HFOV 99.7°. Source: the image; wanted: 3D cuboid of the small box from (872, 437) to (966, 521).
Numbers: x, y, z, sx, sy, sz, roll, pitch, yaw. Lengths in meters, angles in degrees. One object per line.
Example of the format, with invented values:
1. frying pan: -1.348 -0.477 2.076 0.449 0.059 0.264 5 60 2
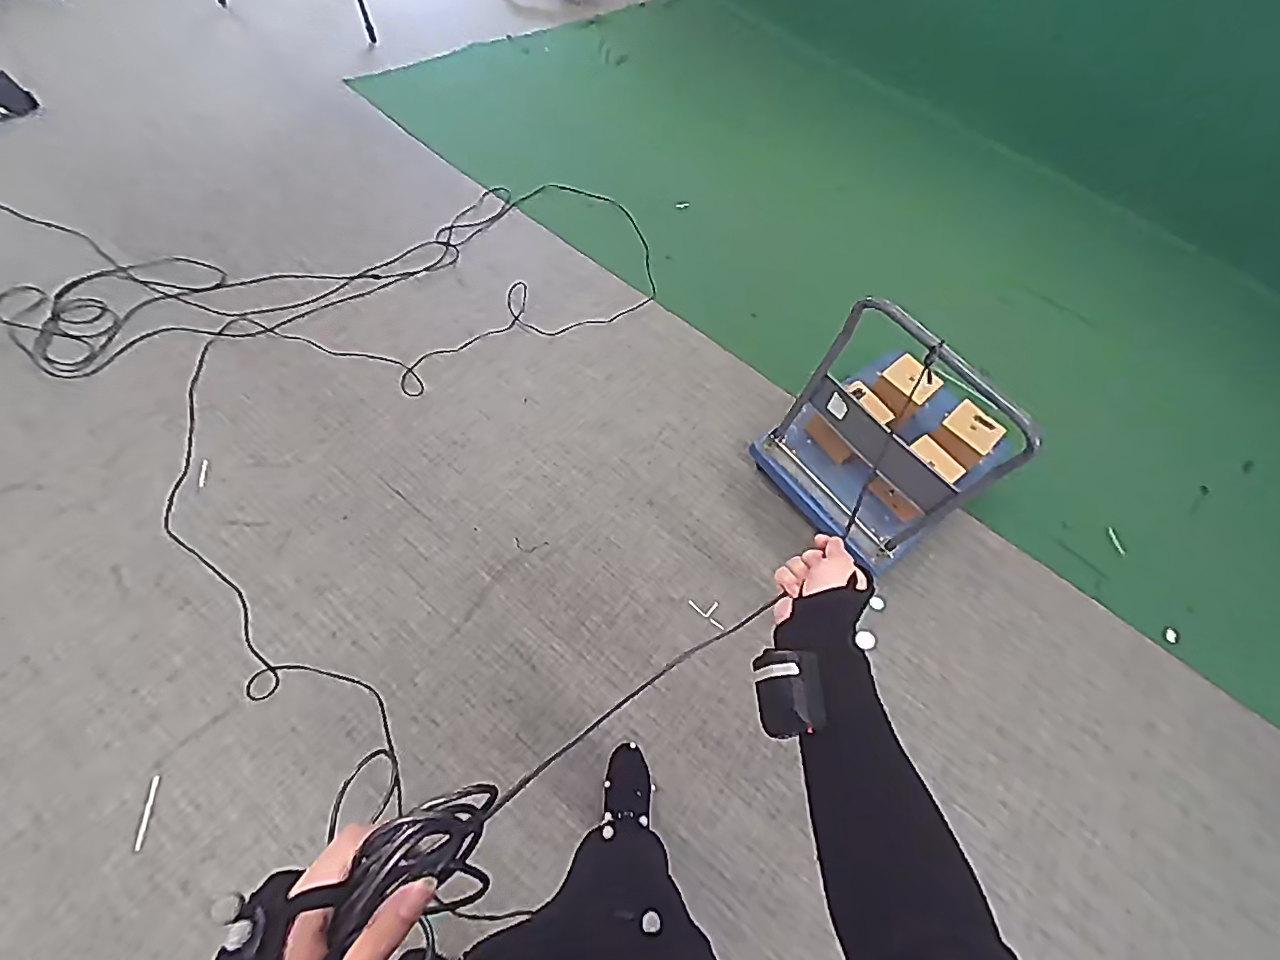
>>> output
1. small box: 0.883 0.000 1.729 0.179 0.176 0.168 -31 69 -25

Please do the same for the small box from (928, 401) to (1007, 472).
1. small box: 1.091 -0.129 1.844 0.179 0.176 0.168 -36 70 -26

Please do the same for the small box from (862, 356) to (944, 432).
1. small box: 0.921 -0.301 1.917 0.179 0.176 0.168 -35 72 -27
